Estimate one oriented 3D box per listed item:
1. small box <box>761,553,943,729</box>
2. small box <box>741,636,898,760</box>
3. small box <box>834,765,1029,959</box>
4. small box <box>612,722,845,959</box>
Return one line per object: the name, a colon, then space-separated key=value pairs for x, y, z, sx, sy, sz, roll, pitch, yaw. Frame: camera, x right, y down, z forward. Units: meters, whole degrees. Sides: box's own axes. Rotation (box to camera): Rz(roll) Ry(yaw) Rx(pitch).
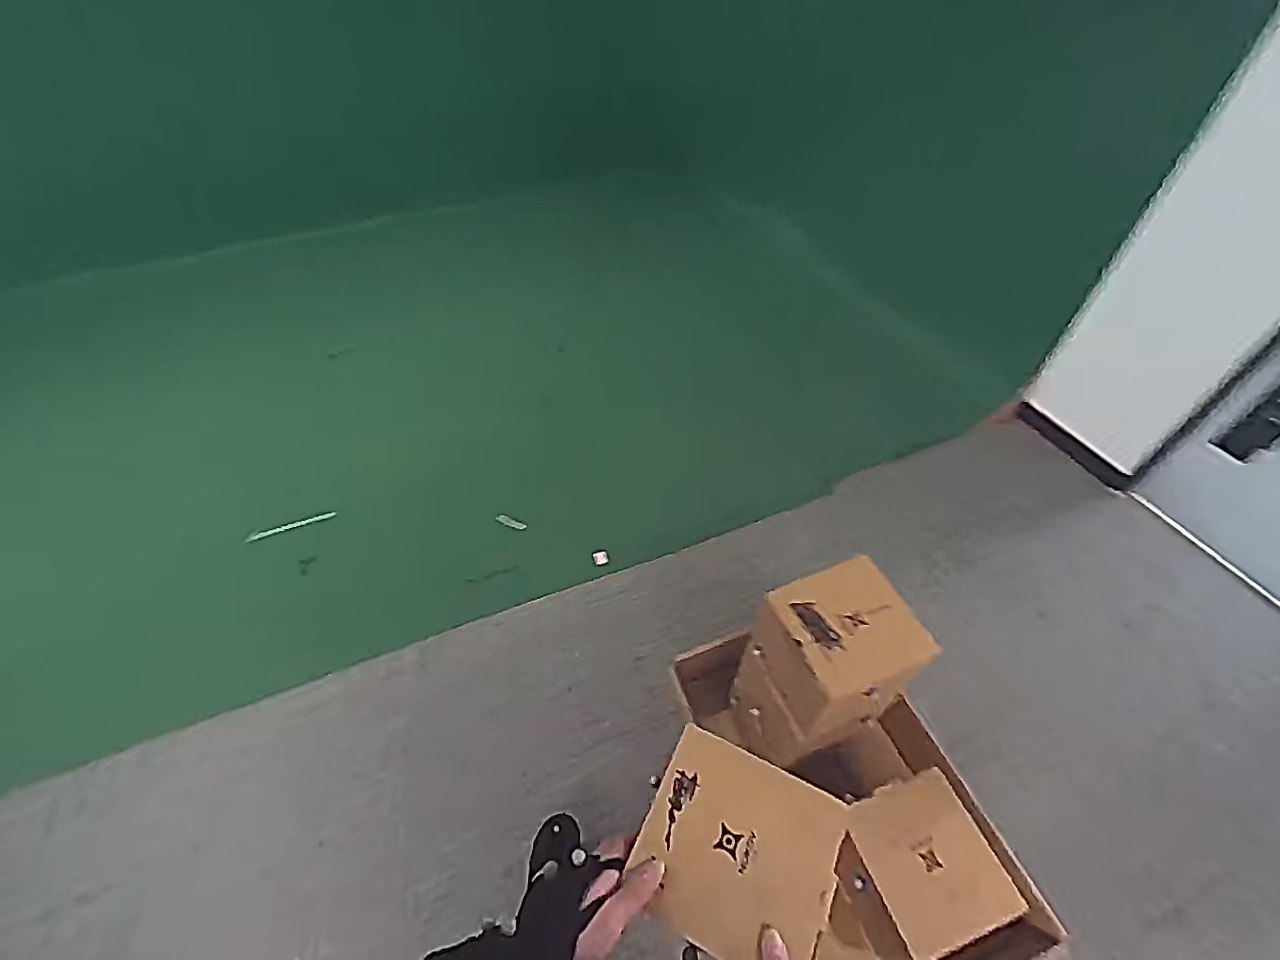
small box: x=0.294 y=0.241 z=0.799 sx=0.179 sy=0.176 sz=0.168 roll=-17 pitch=53 yaw=-13
small box: x=0.292 y=0.350 z=0.922 sx=0.179 sy=0.176 sz=0.168 roll=-17 pitch=52 yaw=-12
small box: x=0.382 y=0.540 z=0.767 sx=0.168 sy=0.176 sz=0.179 roll=-16 pitch=53 yaw=-10
small box: x=0.086 y=0.388 z=0.564 sx=0.179 sy=0.176 sz=0.168 roll=21 pitch=54 yaw=16
